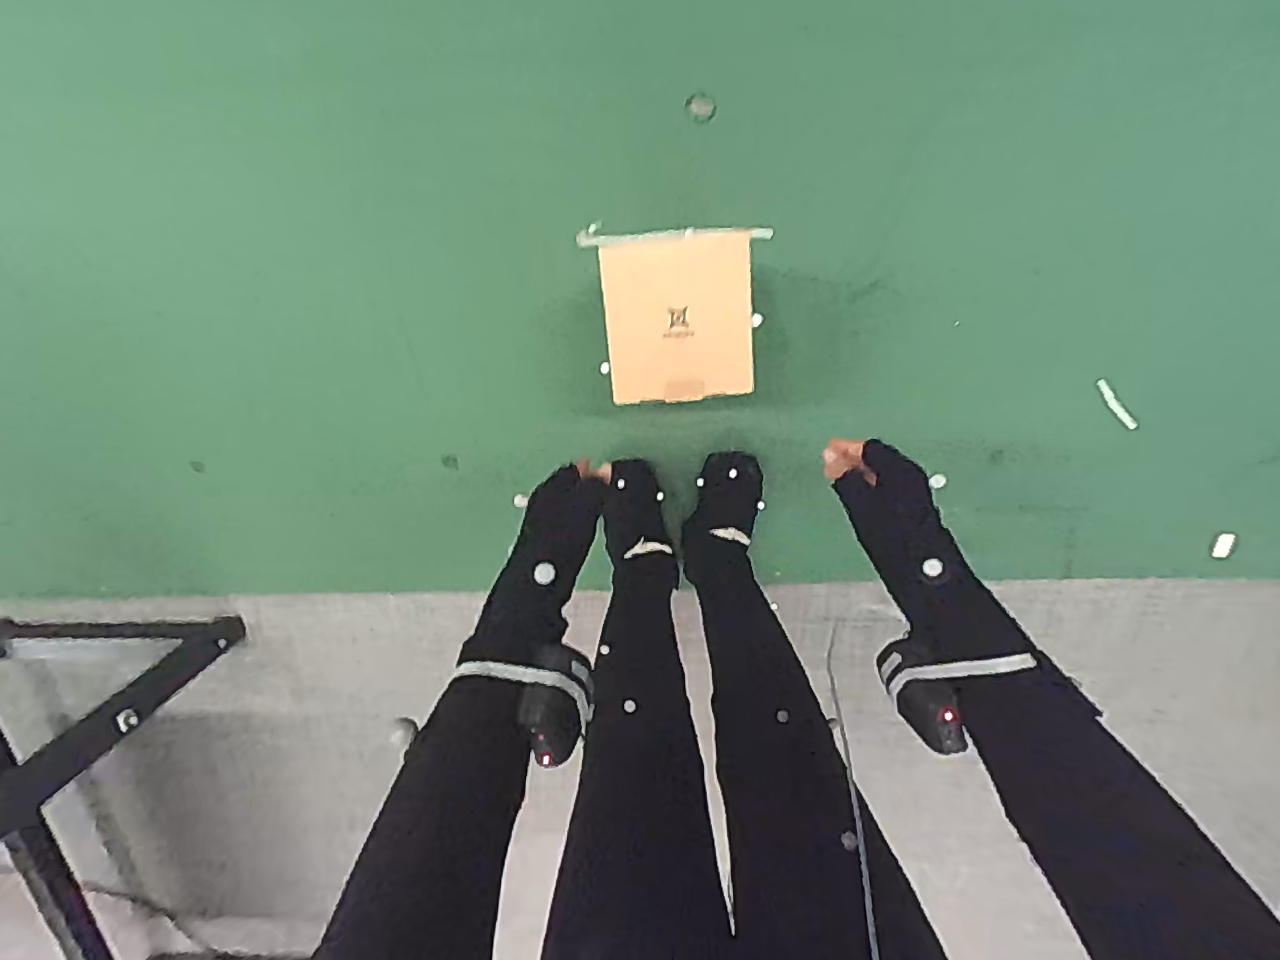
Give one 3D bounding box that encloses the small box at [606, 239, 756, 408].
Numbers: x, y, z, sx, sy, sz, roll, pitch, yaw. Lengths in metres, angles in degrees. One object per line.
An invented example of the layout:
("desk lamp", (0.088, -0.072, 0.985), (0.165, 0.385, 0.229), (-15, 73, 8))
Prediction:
("small box", (0.050, -0.198, 0.690), (0.168, 0.176, 0.179), (-5, 109, 4))
